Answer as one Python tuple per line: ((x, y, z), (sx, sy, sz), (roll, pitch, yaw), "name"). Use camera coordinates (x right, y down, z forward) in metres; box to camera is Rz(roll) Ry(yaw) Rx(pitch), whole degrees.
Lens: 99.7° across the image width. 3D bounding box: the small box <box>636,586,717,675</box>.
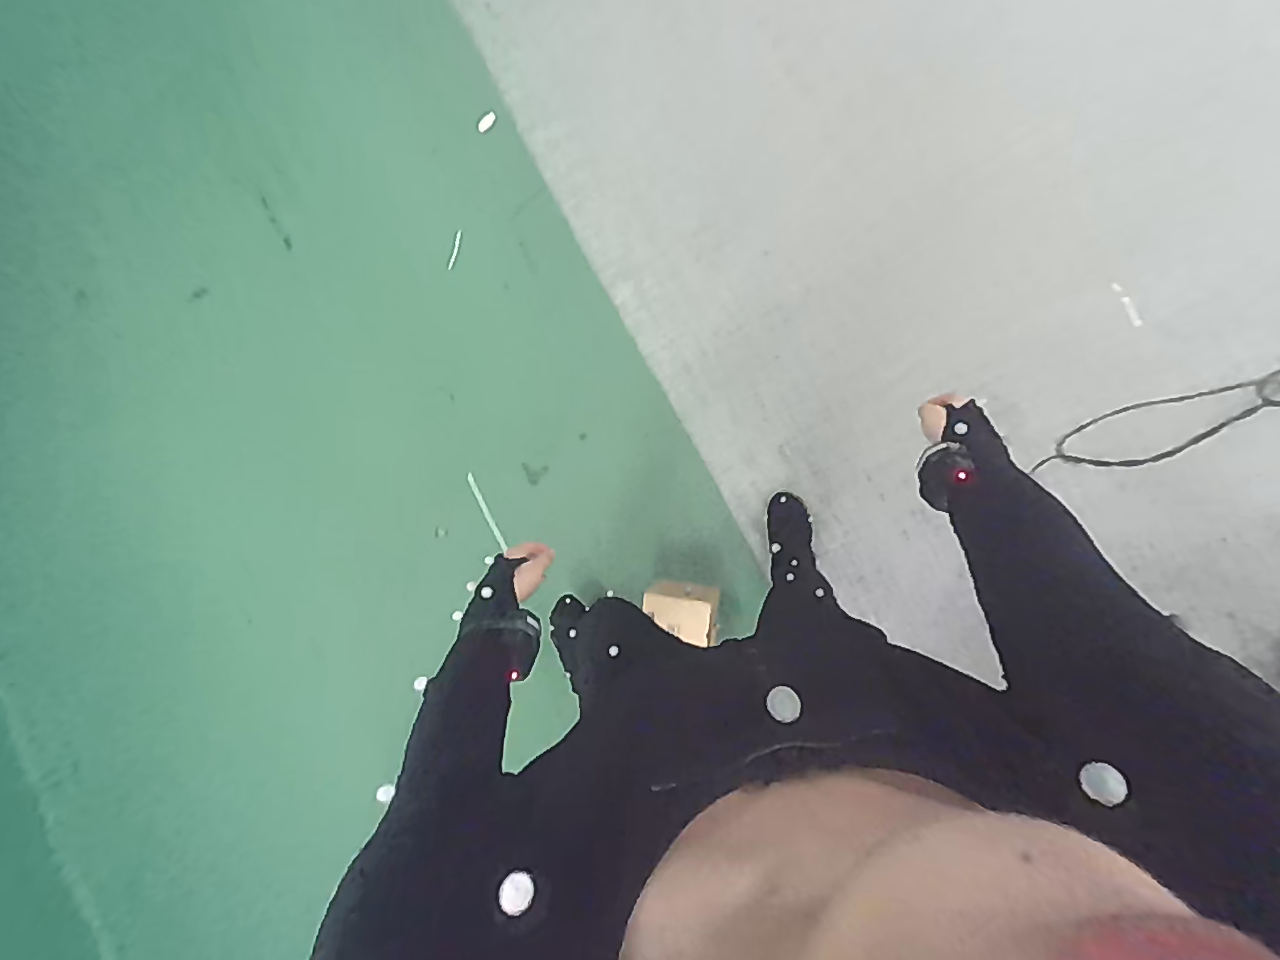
((0.100, 0.379, 1.396), (0.179, 0.176, 0.168), (6, 93, 14), "small box")
